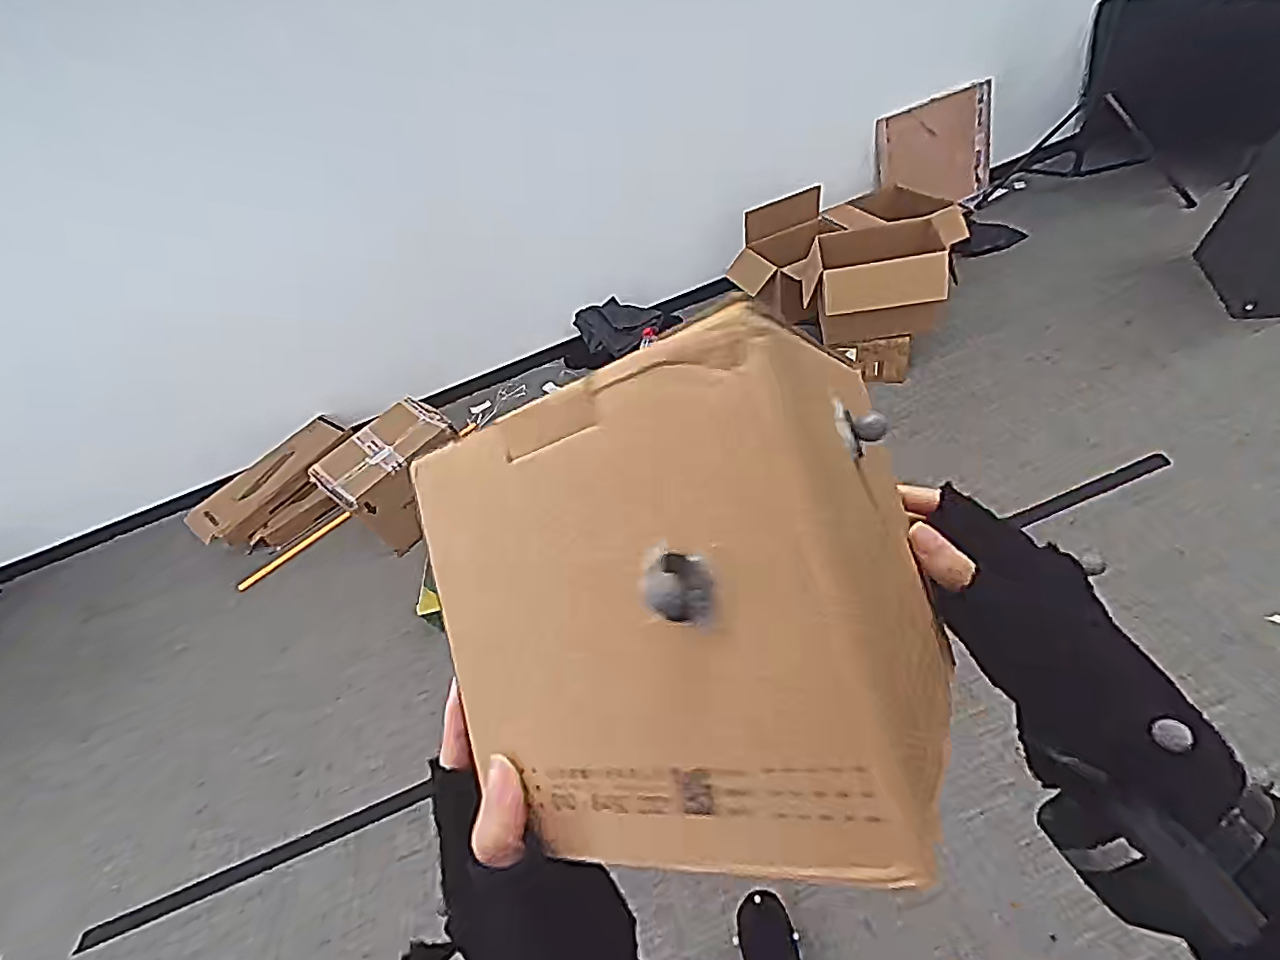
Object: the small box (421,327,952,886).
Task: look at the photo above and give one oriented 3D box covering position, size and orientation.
[{"bbox_3d":[0.031,0.052,0.262,0.168,0.179,0.176,-20,81,34],"label":"small box"}]
